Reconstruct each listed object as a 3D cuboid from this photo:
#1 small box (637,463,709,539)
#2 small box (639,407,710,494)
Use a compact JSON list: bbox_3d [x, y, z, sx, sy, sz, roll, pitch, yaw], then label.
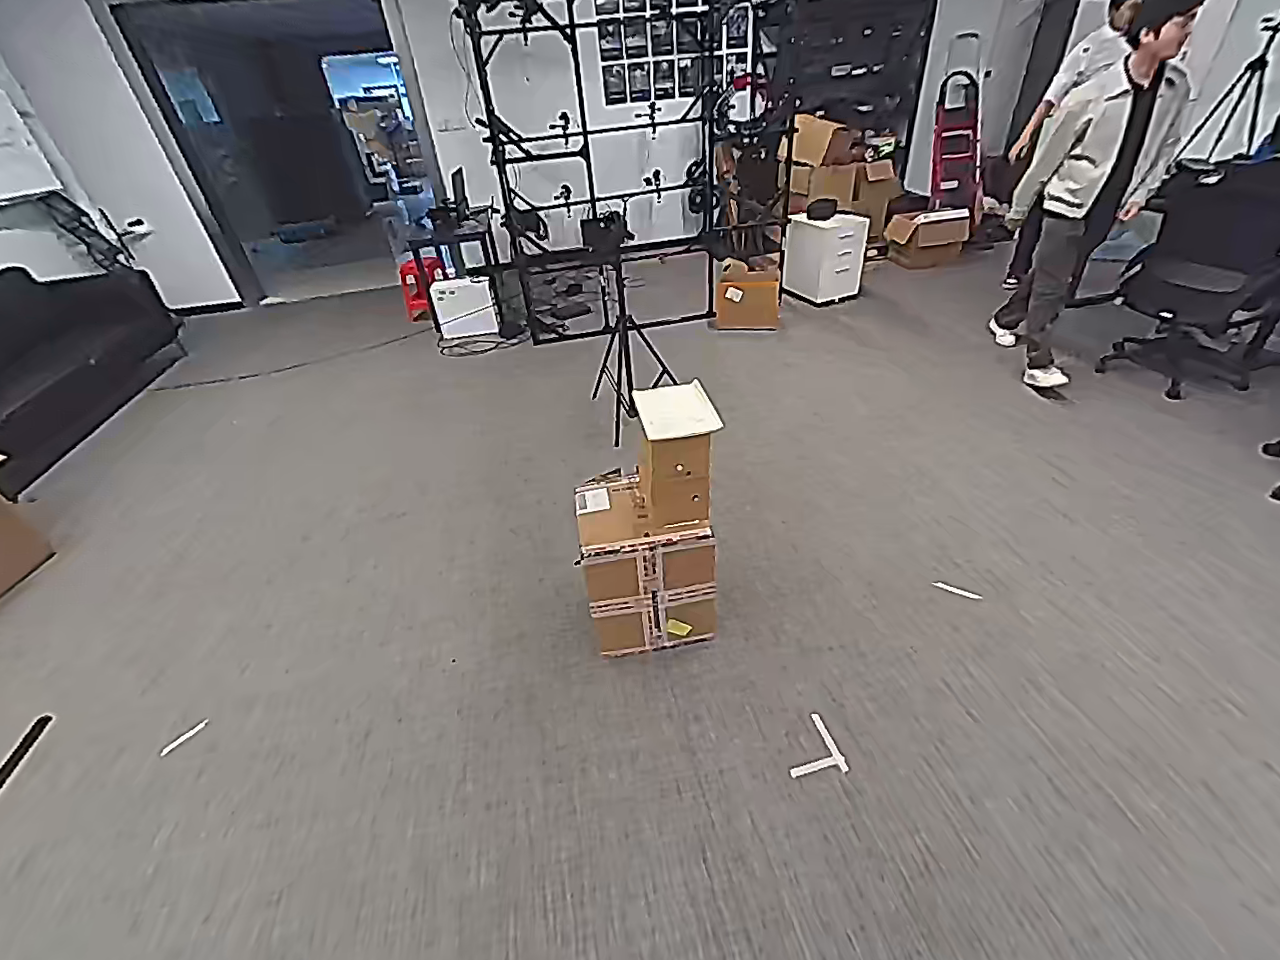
[{"bbox_3d":[0.094,0.050,1.598,0.179,0.176,0.168,-11,37,-9],"label":"small box"},{"bbox_3d":[0.090,-0.082,1.500,0.168,0.176,0.179,-8,38,-7],"label":"small box"}]
